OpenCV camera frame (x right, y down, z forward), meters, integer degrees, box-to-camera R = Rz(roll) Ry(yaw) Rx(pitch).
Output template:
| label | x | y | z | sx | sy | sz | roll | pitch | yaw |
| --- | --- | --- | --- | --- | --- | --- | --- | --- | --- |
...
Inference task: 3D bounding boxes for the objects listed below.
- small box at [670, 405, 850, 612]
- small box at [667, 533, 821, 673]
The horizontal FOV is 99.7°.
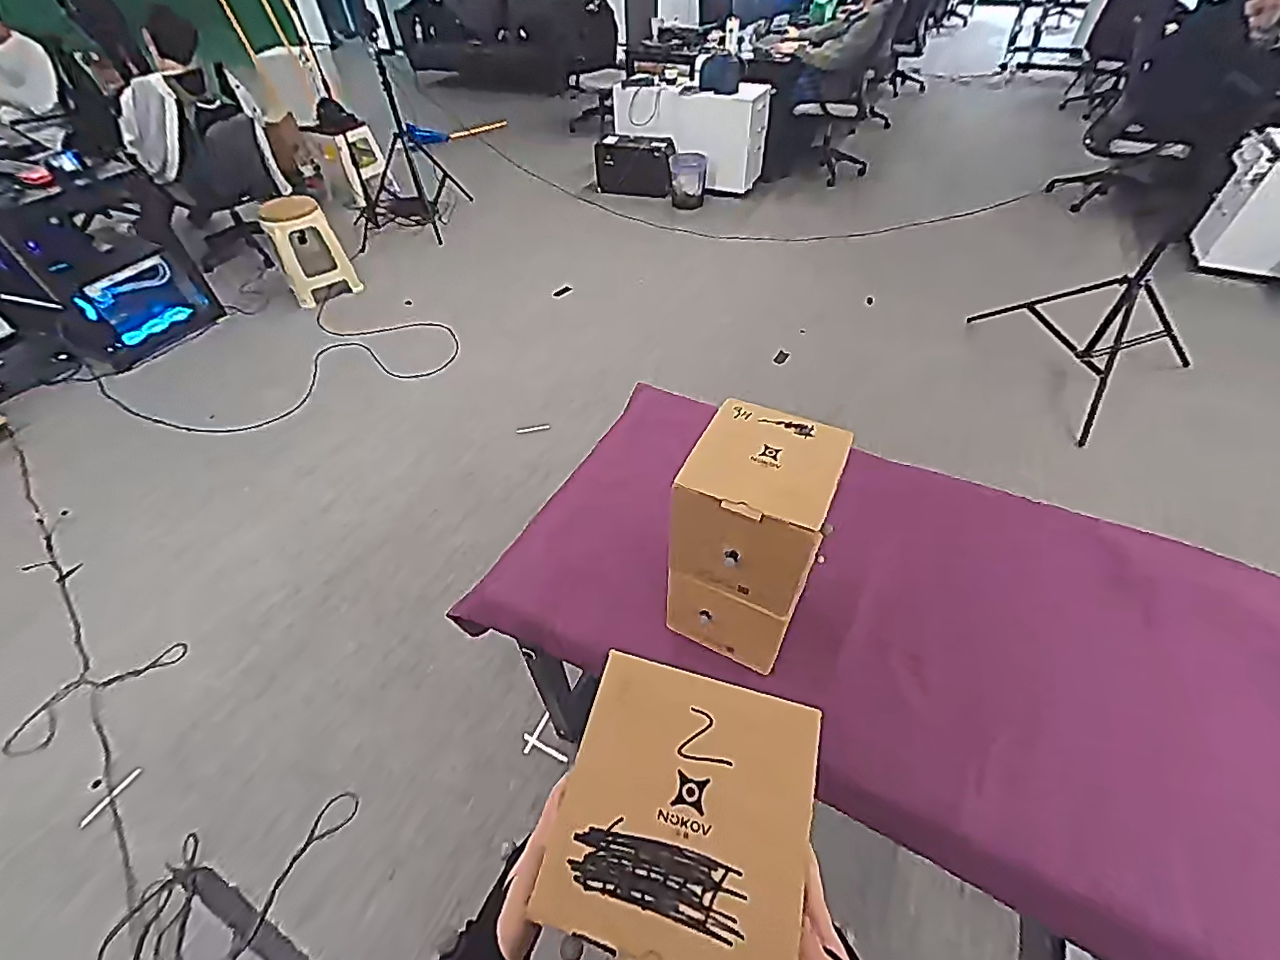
| label | x | y | z | sx | sy | sz | roll | pitch | yaw |
| --- | --- | --- | --- | --- | --- | --- | --- | --- | --- |
| small box | 0.148 | 0.038 | 0.691 | 0.168 | 0.176 | 0.179 | 20 | 50 | 19 |
| small box | 0.151 | 0.154 | 0.806 | 0.168 | 0.176 | 0.179 | 21 | 50 | 20 |
